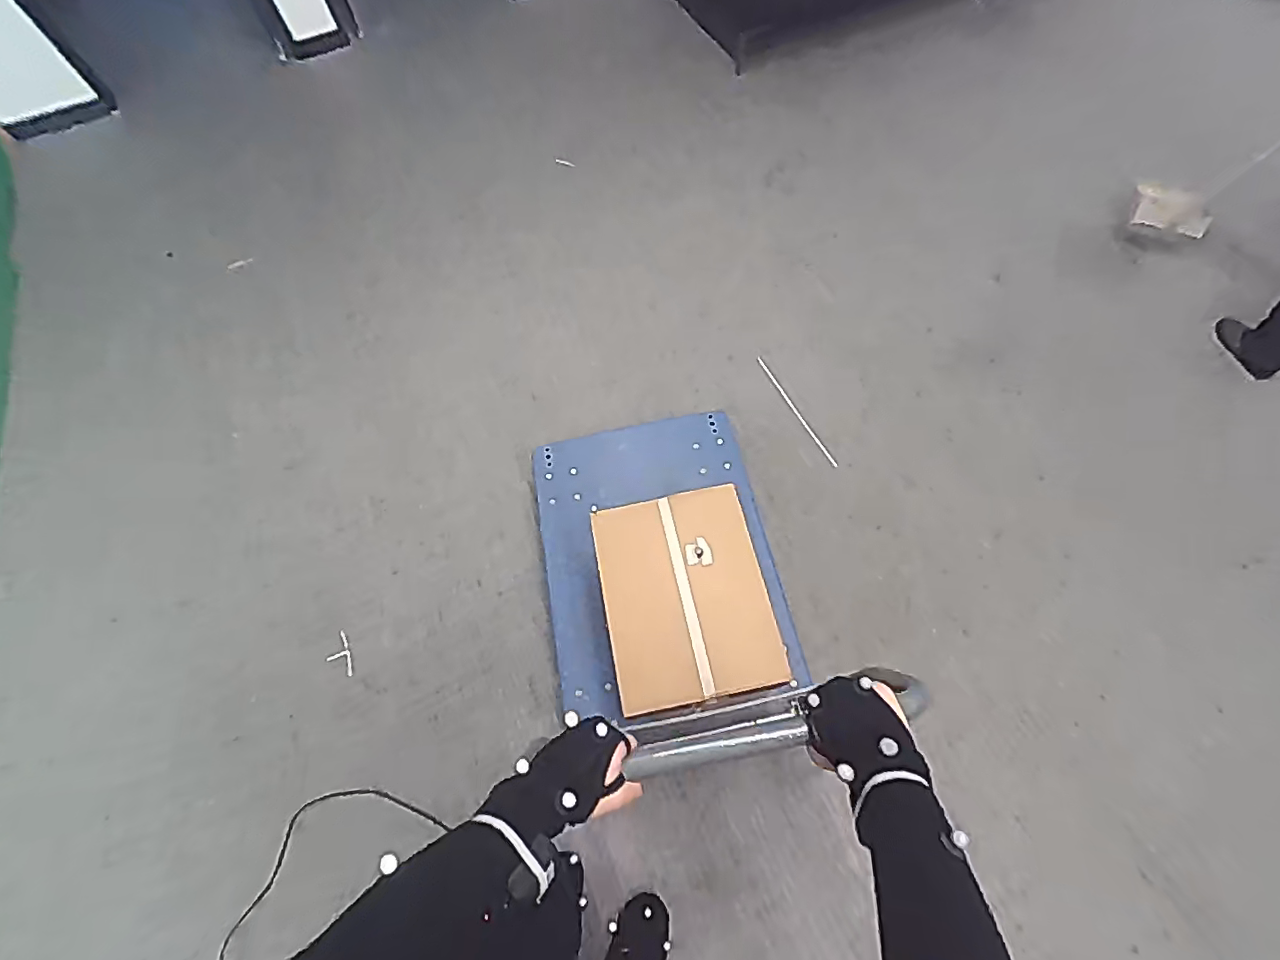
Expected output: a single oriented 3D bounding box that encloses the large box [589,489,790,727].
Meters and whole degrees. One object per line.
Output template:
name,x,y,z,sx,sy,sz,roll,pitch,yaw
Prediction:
large box,0.092,0.288,1.186,0.320,0.320,0.408,-11,63,-3
